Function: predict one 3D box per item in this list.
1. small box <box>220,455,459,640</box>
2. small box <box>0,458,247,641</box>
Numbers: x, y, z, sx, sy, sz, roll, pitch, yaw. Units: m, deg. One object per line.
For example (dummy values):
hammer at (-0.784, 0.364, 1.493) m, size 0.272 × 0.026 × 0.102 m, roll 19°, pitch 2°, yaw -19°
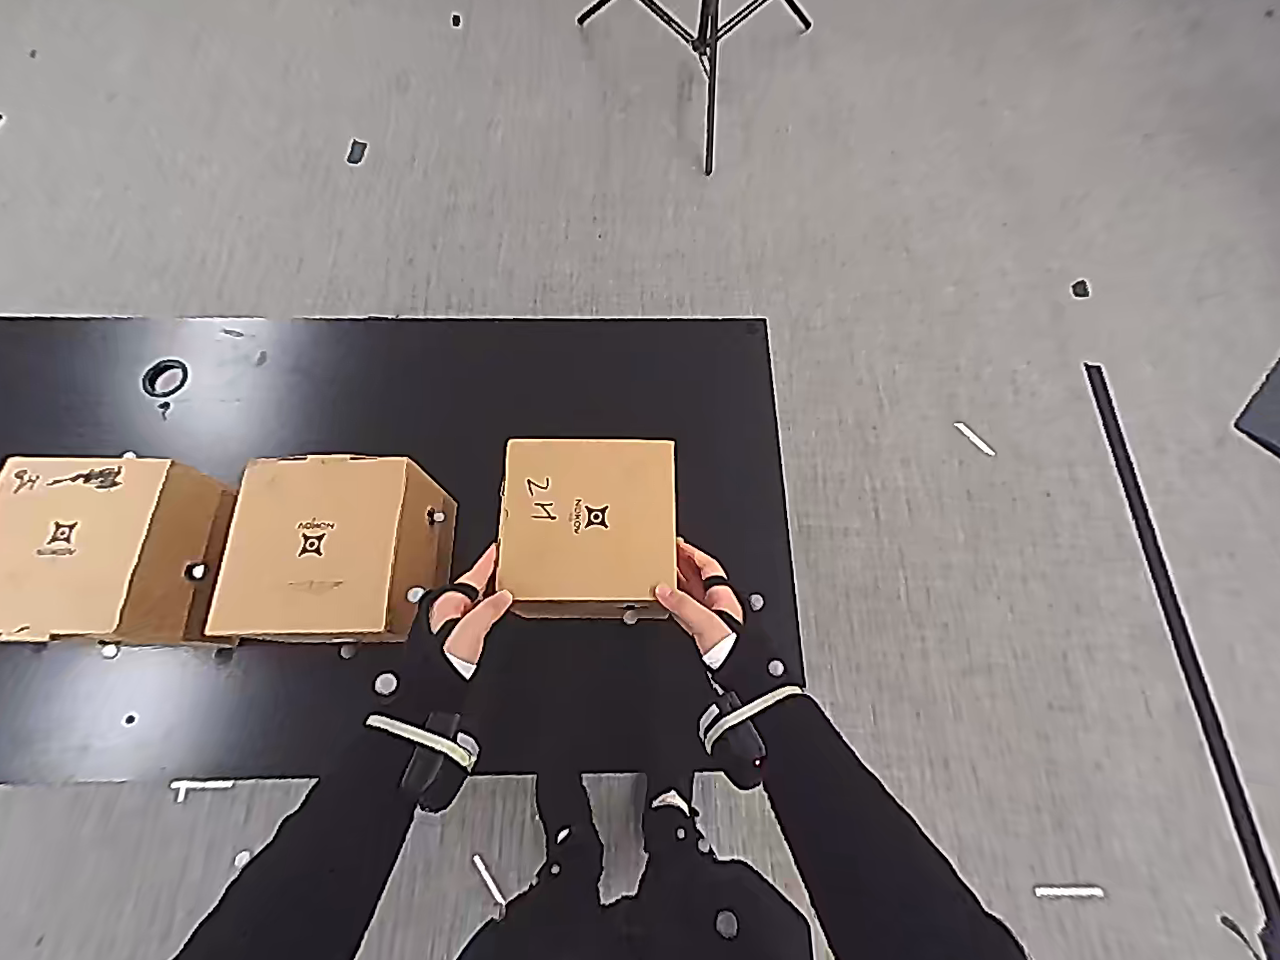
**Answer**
small box at (-0.312, 0.083, 0.606) m, size 0.168 × 0.176 × 0.179 m, roll -2°, pitch 72°, yaw -1°
small box at (-0.551, 0.086, 0.597) m, size 0.168 × 0.176 × 0.179 m, roll 1°, pitch 71°, yaw -2°
